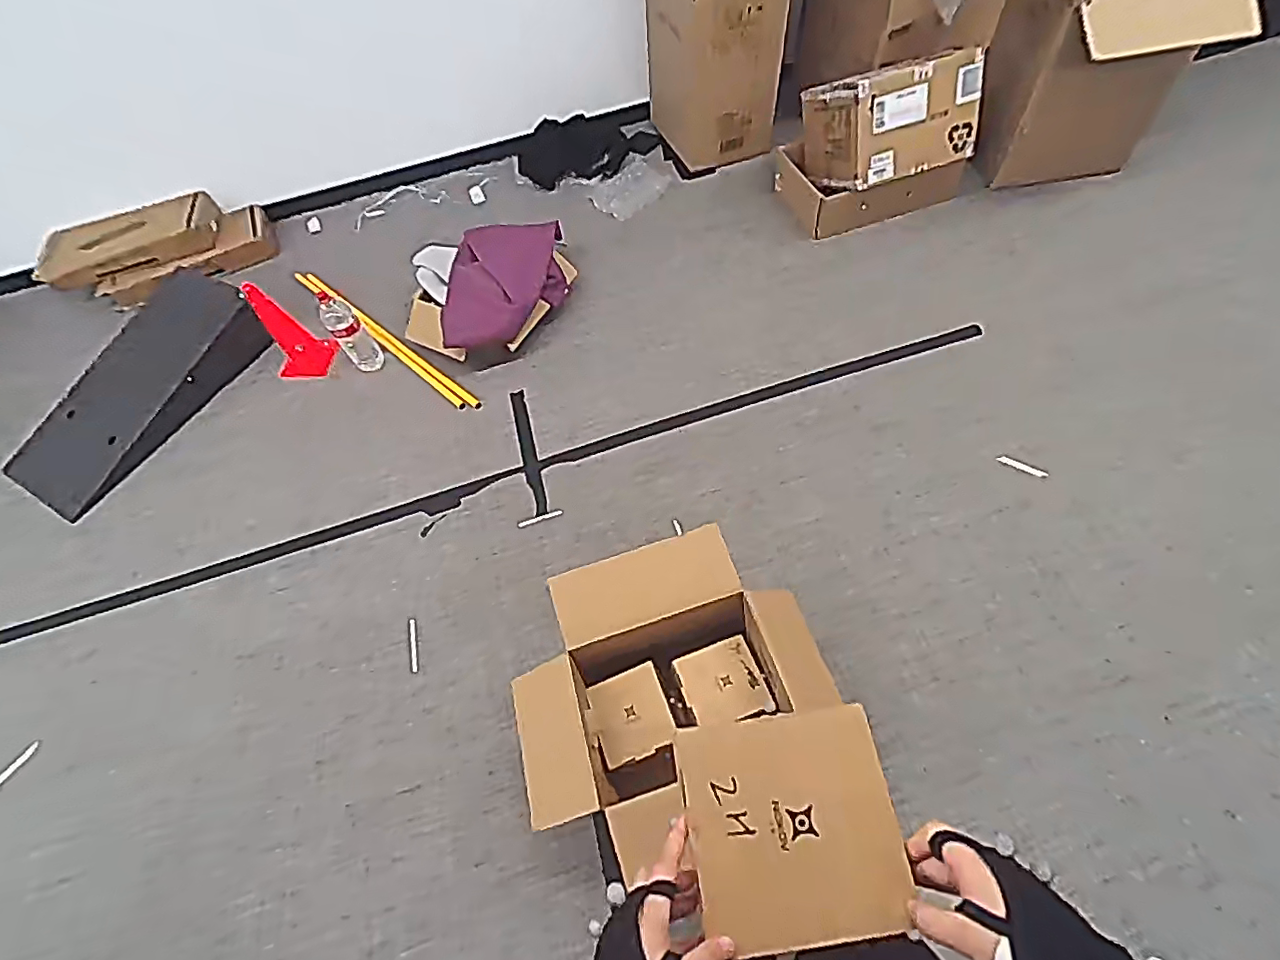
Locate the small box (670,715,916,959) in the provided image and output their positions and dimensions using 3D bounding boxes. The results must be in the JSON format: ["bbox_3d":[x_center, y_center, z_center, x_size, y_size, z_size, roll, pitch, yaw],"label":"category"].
[{"bbox_3d":[0.127,0.331,0.529,0.179,0.176,0.168,-8,63,-1],"label":"small box"}]
